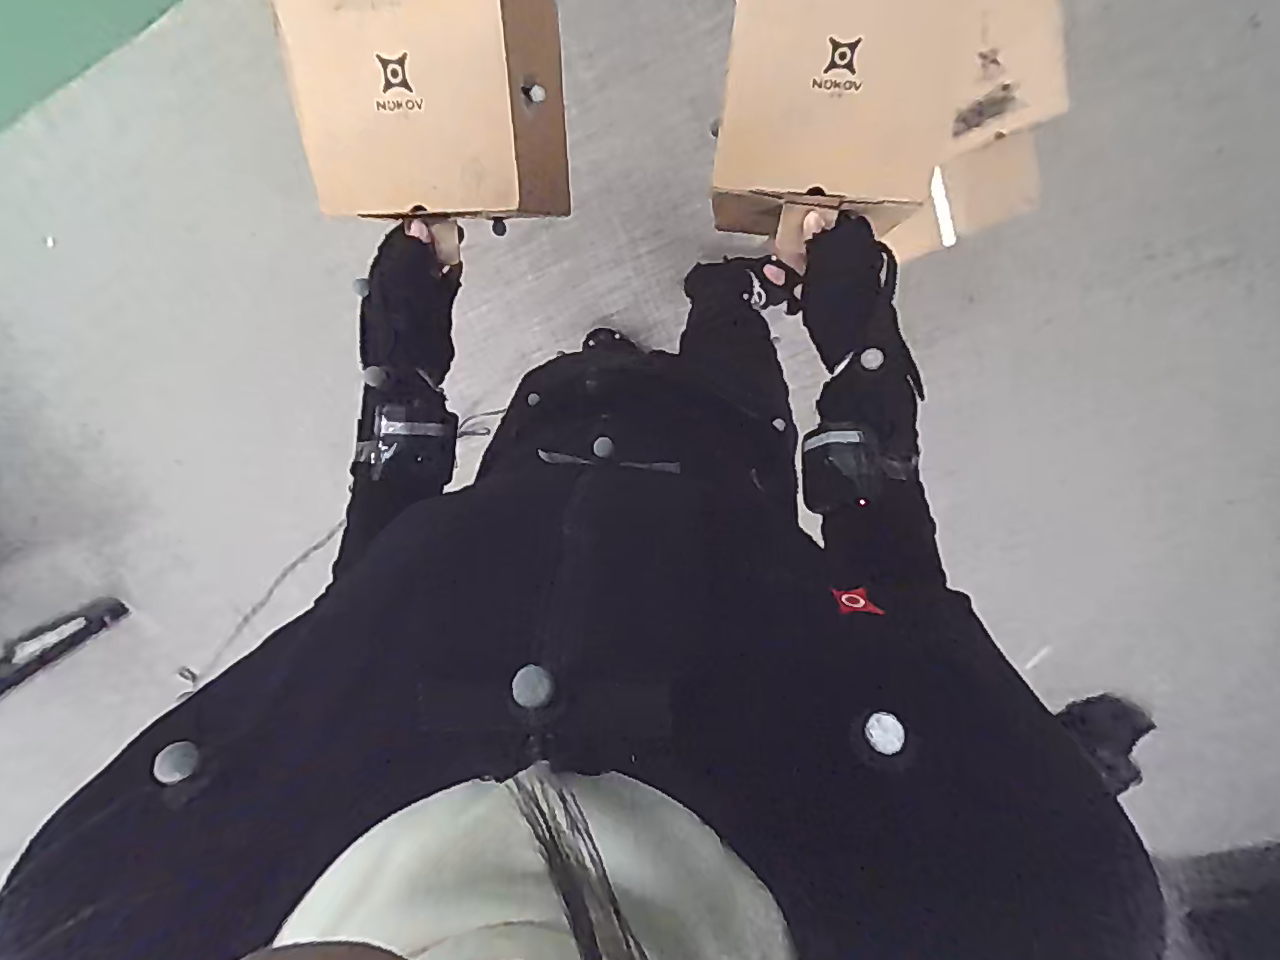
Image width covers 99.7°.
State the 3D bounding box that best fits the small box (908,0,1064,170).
[{"bbox_3d":[0.461,-0.569,0.771,0.168,0.176,0.179,-19,111,19],"label":"small box"}]

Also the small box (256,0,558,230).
[{"bbox_3d":[-0.175,-0.317,0.464,0.168,0.176,0.179,0,115,7],"label":"small box"}]

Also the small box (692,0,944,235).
[{"bbox_3d":[0.144,-0.326,0.480,0.168,0.176,0.179,8,107,8],"label":"small box"}]
